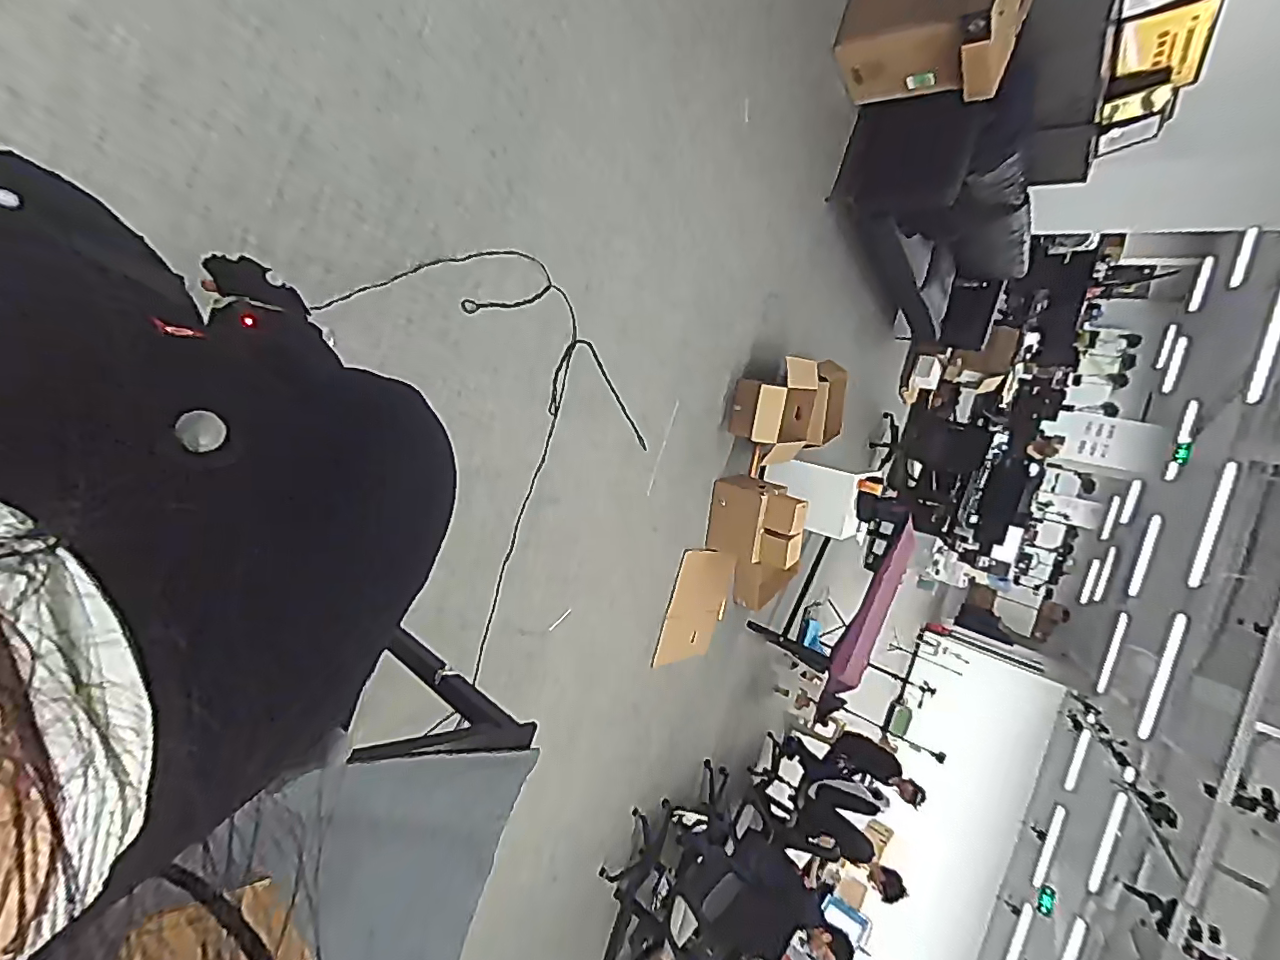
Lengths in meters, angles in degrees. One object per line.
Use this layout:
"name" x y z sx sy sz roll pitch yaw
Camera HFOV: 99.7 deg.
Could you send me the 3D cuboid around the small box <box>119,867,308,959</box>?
"small box" -0.597 0.691 0.740 0.168 0.176 0.179 18 90 -53
